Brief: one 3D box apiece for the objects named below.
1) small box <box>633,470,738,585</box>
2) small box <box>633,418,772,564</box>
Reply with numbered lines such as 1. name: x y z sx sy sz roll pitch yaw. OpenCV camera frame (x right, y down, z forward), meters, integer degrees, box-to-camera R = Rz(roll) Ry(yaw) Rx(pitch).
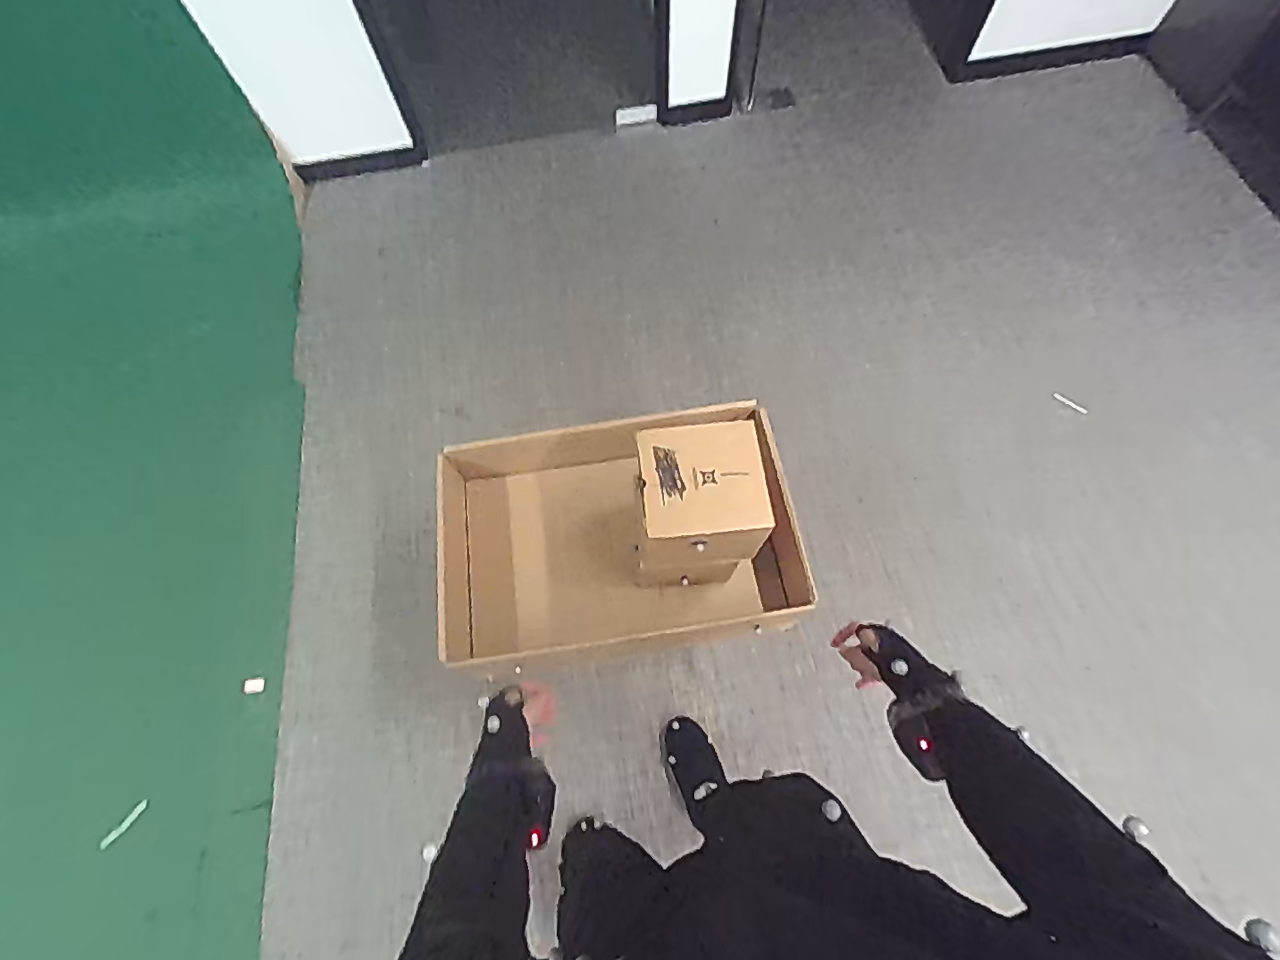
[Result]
1. small box: 0.078 0.088 0.974 0.168 0.176 0.179 -4 67 0
2. small box: 0.086 0.024 0.823 0.179 0.176 0.168 -5 67 -1
